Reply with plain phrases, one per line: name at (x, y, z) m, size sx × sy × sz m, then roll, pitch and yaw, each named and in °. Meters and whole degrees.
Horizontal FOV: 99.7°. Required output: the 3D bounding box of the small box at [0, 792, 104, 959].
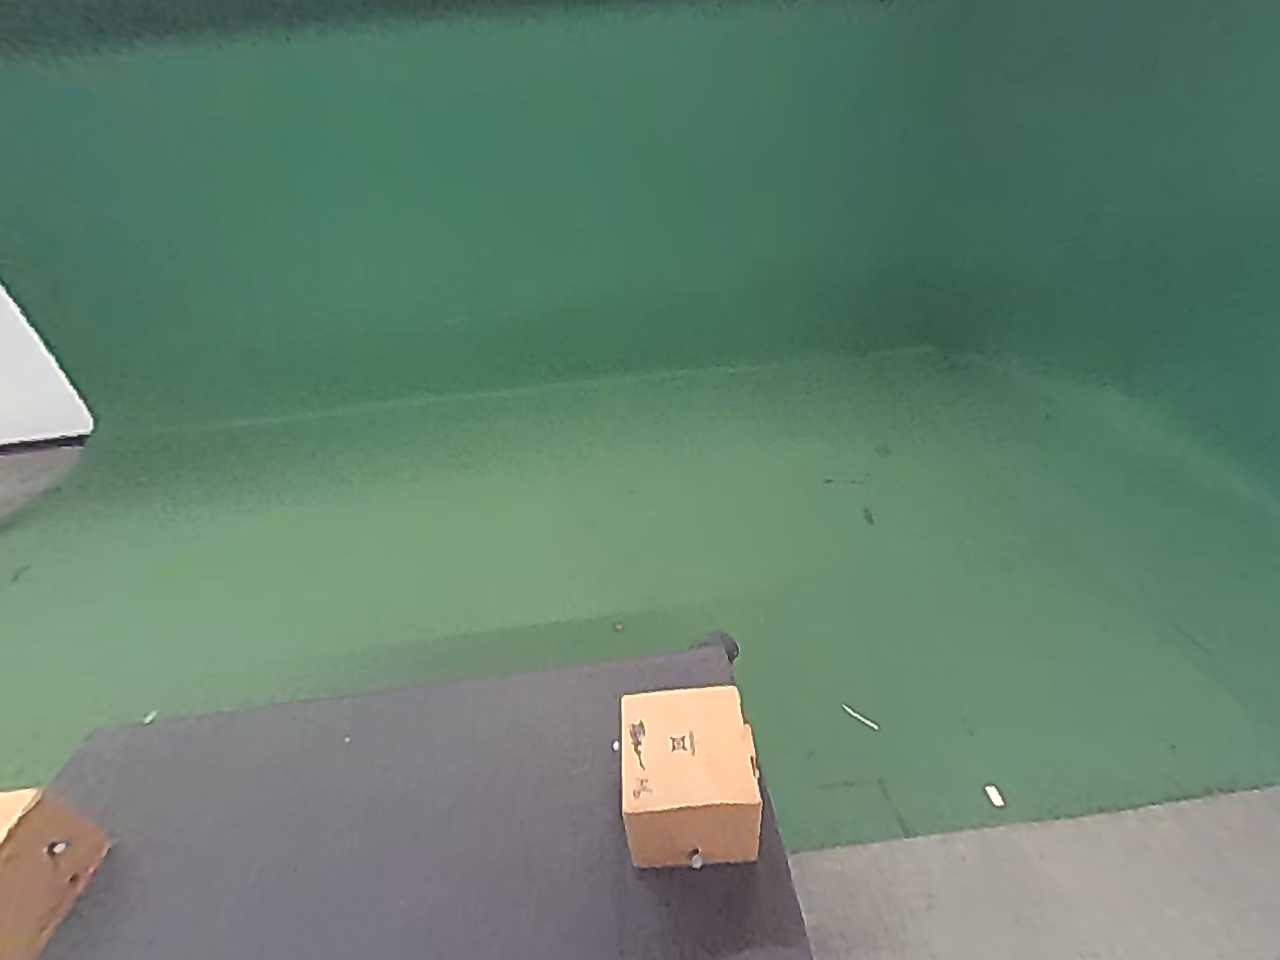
small box at (-0.901, 0.549, 0.722) m, size 0.179 × 0.176 × 0.168 m, roll -5°, pitch 31°, yaw 0°

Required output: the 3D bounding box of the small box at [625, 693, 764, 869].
small box at (0.071, 0.434, 0.782) m, size 0.179 × 0.176 × 0.168 m, roll -5°, pitch 34°, yaw 1°
